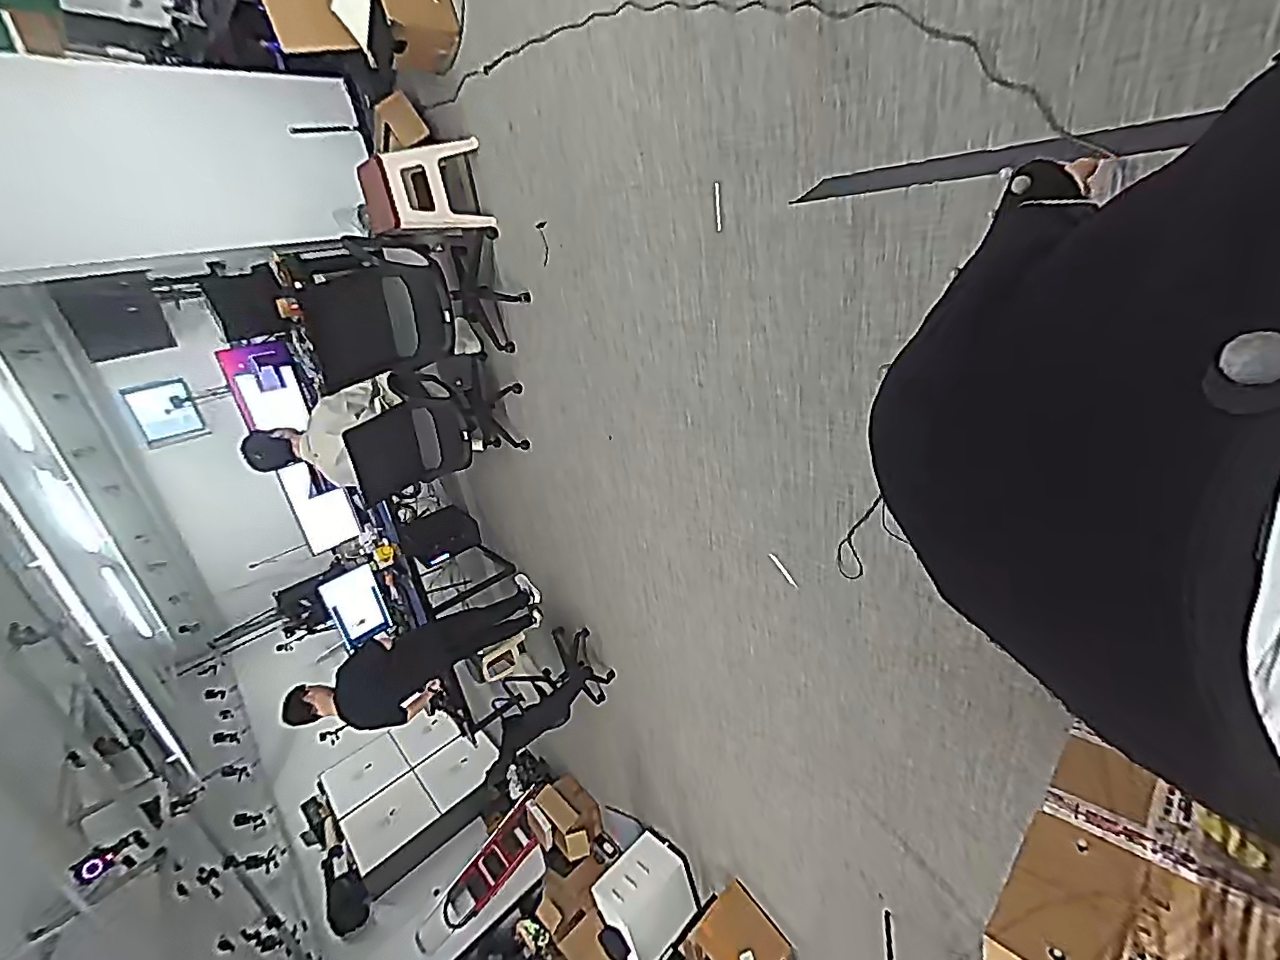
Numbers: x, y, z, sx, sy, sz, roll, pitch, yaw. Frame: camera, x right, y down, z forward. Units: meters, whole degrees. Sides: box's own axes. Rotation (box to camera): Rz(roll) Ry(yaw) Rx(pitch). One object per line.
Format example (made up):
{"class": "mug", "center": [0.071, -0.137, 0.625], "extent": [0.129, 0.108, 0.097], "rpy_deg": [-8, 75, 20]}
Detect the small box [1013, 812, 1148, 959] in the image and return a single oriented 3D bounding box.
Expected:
{"class": "small box", "center": [0.868, 0.805, 1.072], "extent": [0.179, 0.176, 0.168], "rpy_deg": [8, 115, 50]}

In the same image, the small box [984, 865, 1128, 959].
{"class": "small box", "center": [0.746, 0.852, 0.971], "extent": [0.179, 0.176, 0.168], "rpy_deg": [8, 114, 50]}
